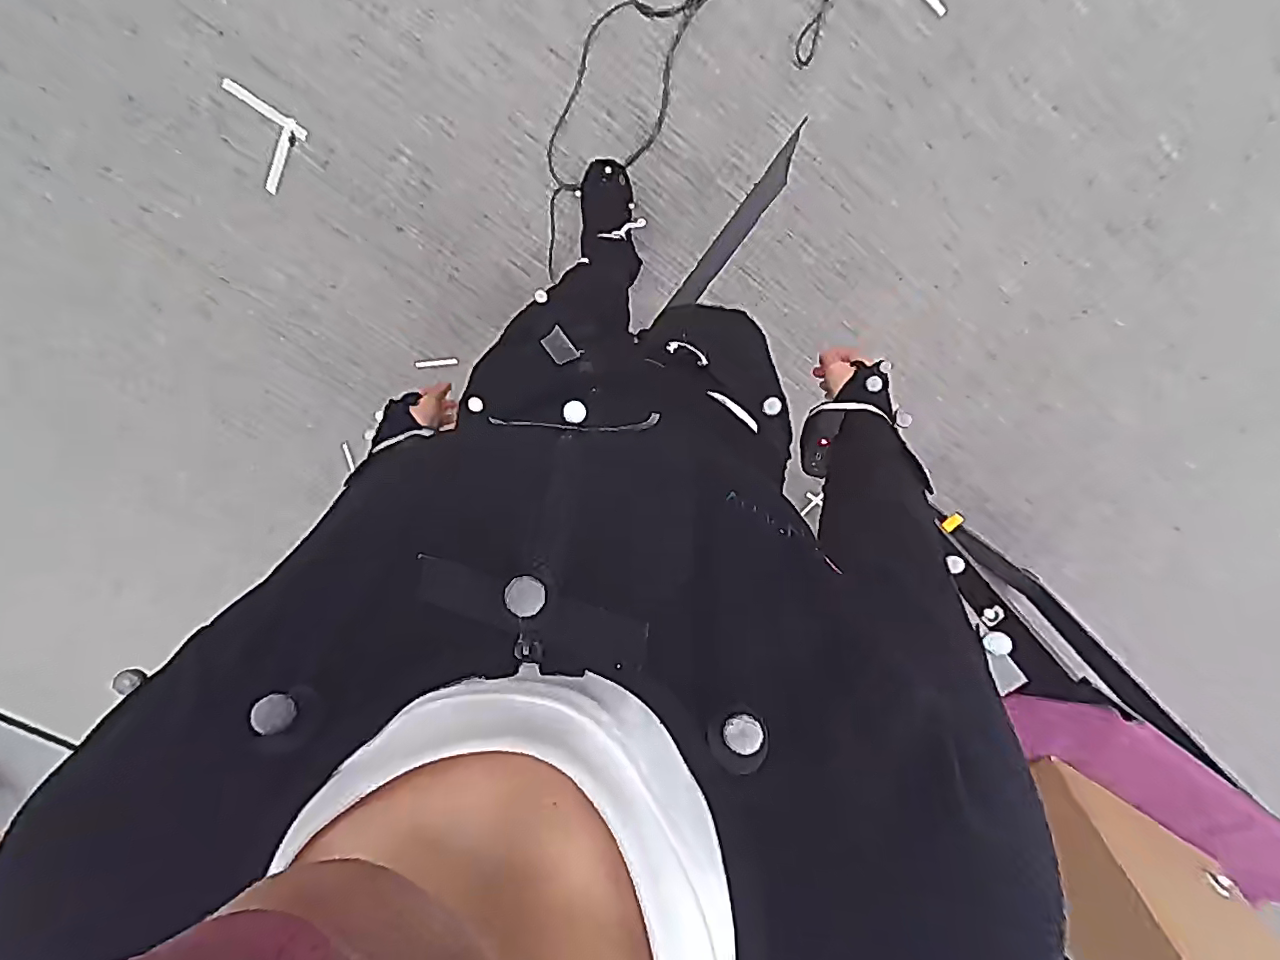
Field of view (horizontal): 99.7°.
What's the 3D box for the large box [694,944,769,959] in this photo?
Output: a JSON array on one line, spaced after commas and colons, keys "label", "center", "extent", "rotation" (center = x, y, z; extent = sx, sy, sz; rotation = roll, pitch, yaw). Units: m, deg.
[{"label": "large box", "center": [0.232, 1.164, 1.011], "extent": [0.408, 0.320, 0.320], "rotation": [33, 114, -14]}]
